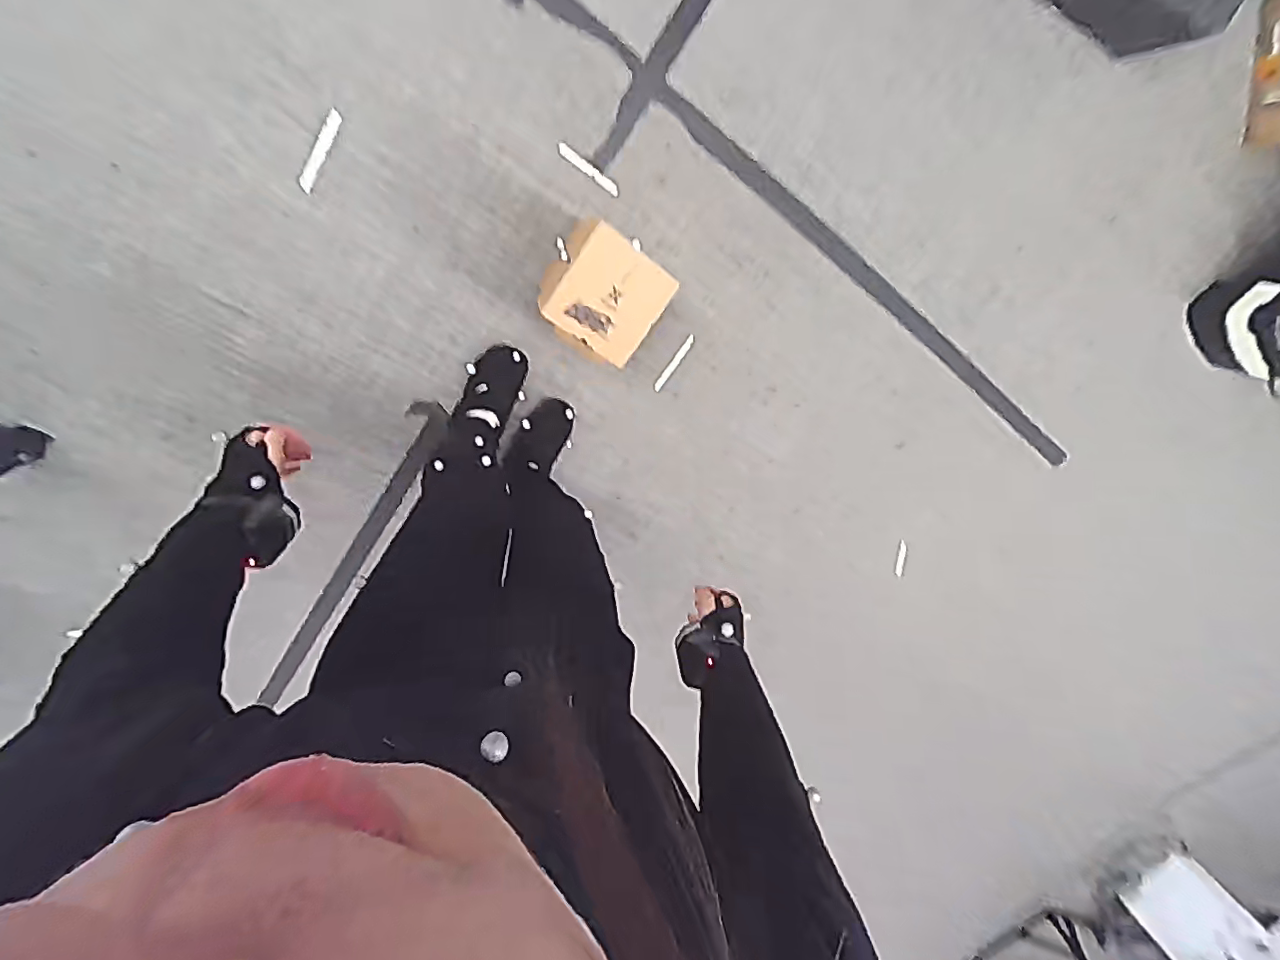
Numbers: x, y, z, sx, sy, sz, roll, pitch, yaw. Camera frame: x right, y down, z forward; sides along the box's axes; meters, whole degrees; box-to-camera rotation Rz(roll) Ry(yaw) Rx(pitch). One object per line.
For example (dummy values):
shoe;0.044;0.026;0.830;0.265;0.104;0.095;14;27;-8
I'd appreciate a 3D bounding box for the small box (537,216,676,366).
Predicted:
small box;-0.066;-0.334;0.949;0.168;0.176;0.179;31;105;-25
